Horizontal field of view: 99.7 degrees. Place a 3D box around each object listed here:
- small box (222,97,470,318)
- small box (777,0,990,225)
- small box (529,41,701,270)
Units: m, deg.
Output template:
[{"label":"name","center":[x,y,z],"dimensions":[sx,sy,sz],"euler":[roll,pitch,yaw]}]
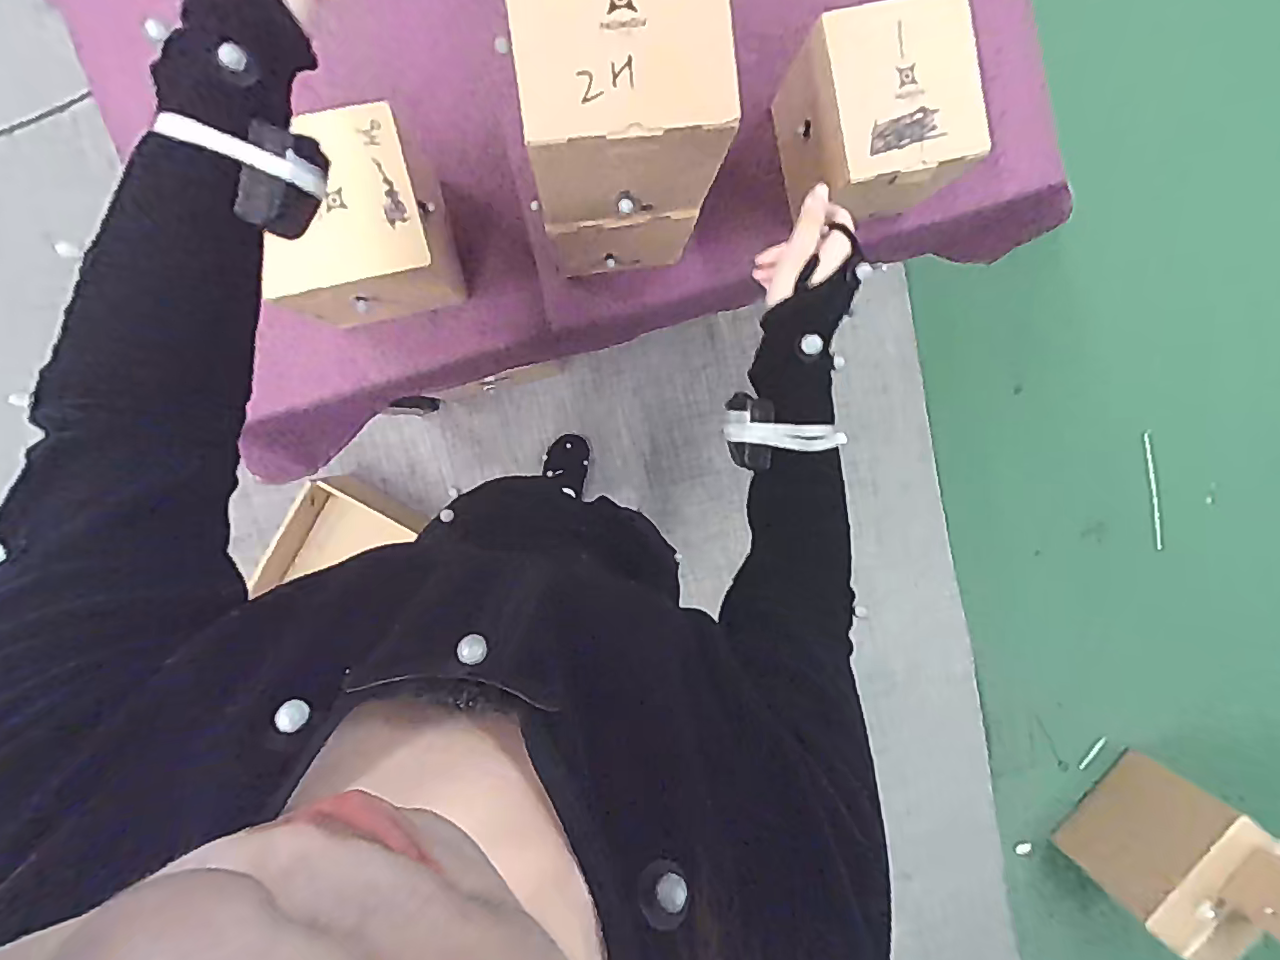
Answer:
[{"label":"small box","center":[-0.319,-0.296,0.627],"dimensions":[0.179,0.176,0.168],"euler":[-13,98,-3]},{"label":"small box","center":[0.283,-0.432,0.660],"dimensions":[0.168,0.176,0.179],"euler":[-13,97,-3]},{"label":"small box","center":[-0.031,-0.369,0.644],"dimensions":[0.168,0.176,0.179],"euler":[-8,98,-4]}]
